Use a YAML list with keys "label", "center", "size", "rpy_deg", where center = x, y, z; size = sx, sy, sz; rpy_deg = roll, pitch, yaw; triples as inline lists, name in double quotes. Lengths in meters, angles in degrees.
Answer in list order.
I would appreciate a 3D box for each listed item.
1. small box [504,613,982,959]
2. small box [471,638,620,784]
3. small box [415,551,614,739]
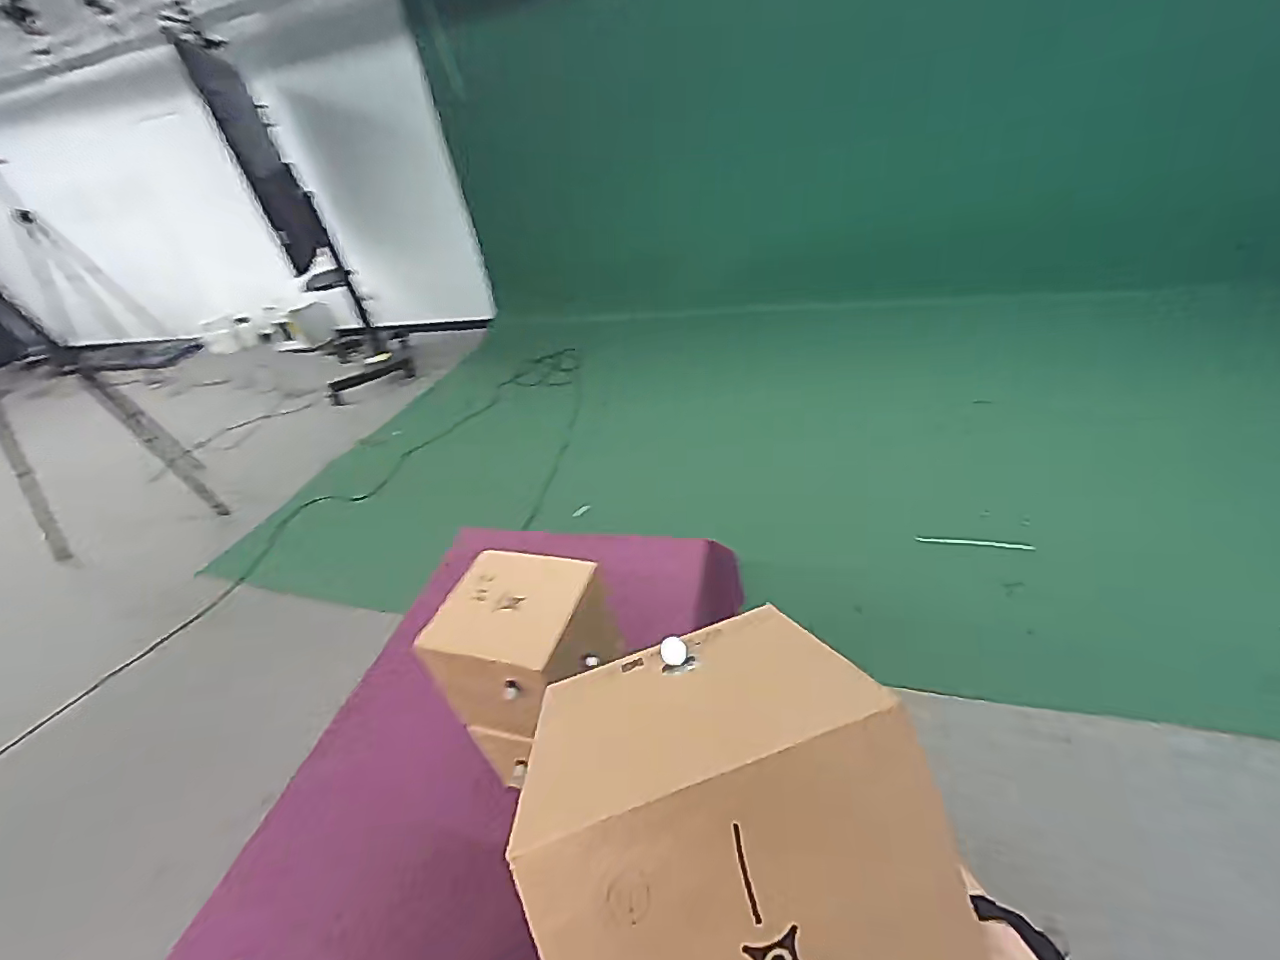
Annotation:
- label: "small box"
  center: [0.047, 0.194, 0.288]
  size: [0.168, 0.179, 0.176]
  rpy_deg: [-18, 0, -3]
- label: "small box"
  center: [-0.115, 0.349, 0.808]
  size: [0.168, 0.176, 0.179]
  rpy_deg: [2, 37, 19]
- label: "small box"
  center: [-0.149, 0.218, 0.715]
  size: [0.179, 0.176, 0.168]
  rpy_deg: [3, 37, 21]
